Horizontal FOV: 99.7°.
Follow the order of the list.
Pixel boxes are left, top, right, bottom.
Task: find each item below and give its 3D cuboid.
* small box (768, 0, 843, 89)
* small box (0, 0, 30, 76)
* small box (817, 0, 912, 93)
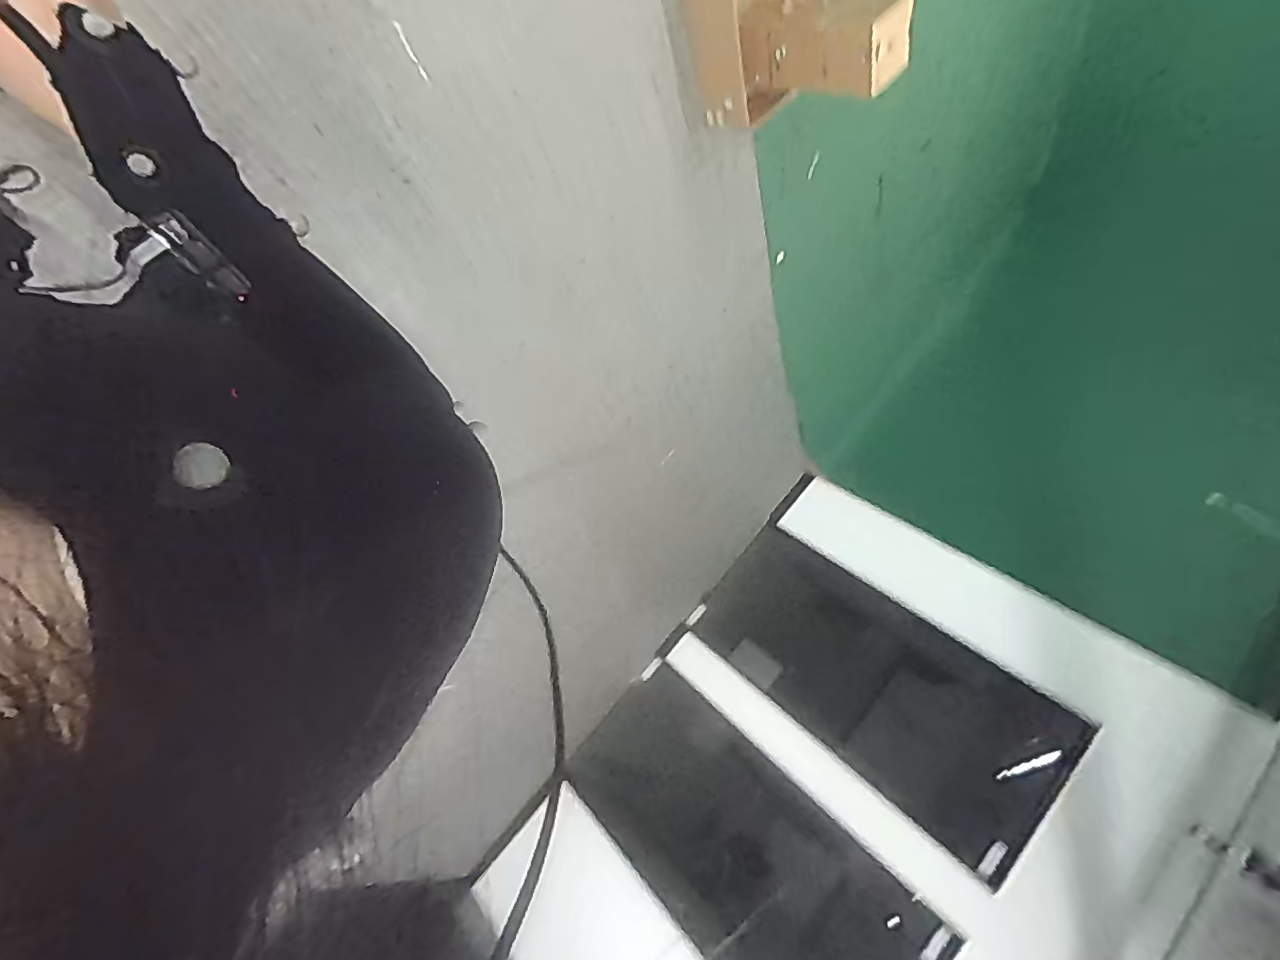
[{"bbox_3d":[0.489,-1.255,1.543,0.179,0.176,0.168,-44,143,-13],"label":"small box"},{"bbox_3d":[-0.470,-0.347,0.281,0.168,0.176,0.179,-15,136,-36],"label":"small box"},{"bbox_3d":[0.597,-1.176,1.448,0.179,0.176,0.168,-47,143,-12],"label":"small box"}]
